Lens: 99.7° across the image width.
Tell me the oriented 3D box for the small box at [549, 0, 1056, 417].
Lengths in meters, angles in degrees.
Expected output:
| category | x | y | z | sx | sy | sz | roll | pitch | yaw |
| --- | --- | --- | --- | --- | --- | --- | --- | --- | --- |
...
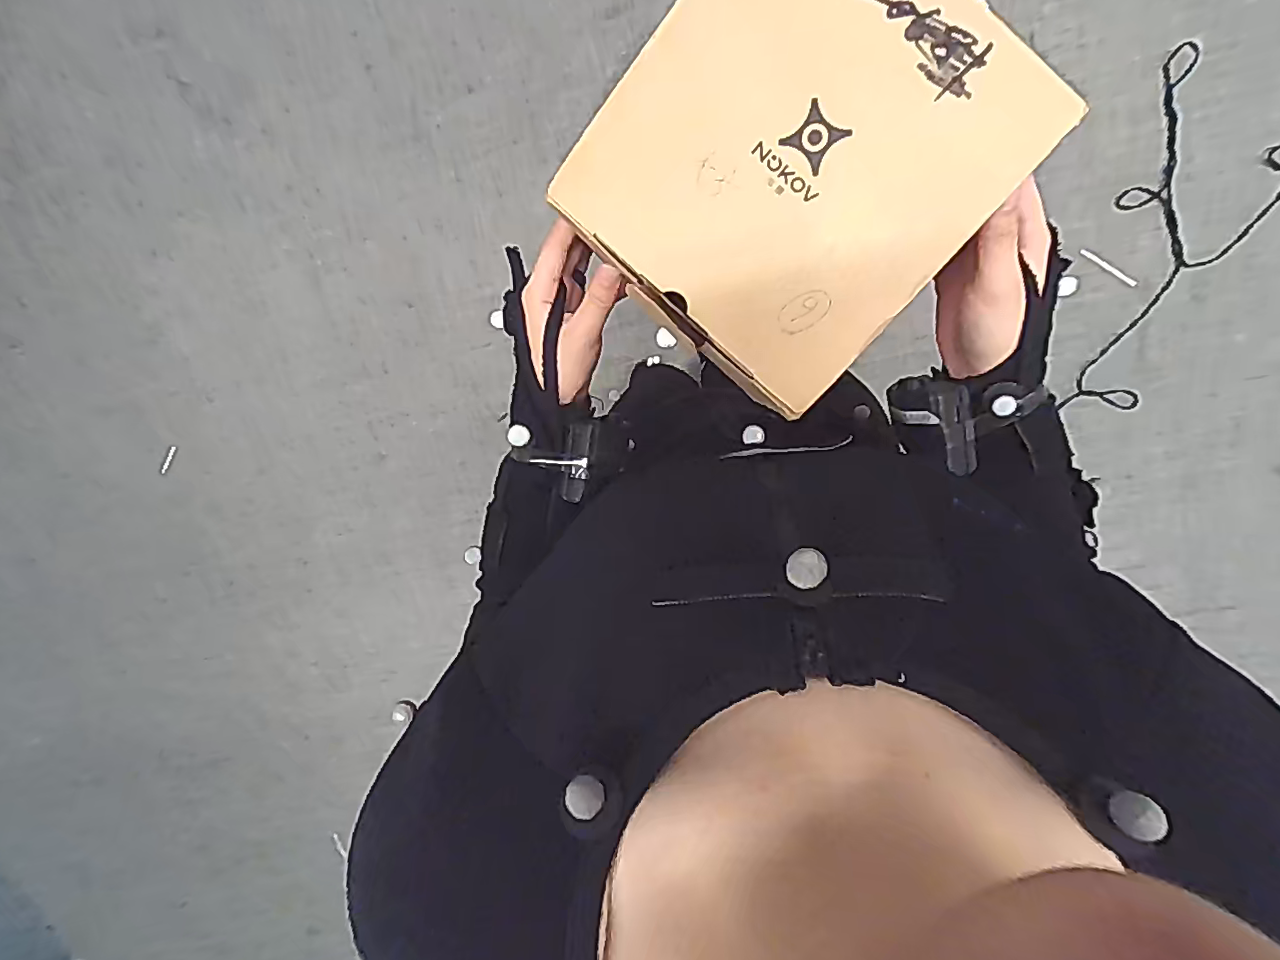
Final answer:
| category | x | y | z | sx | sy | sz | roll | pitch | yaw |
| --- | --- | --- | --- | --- | --- | --- | --- | --- | --- |
| small box | 0.079 | -0.161 | 0.330 | 0.168 | 0.176 | 0.179 | 41 | 103 | -3 |
